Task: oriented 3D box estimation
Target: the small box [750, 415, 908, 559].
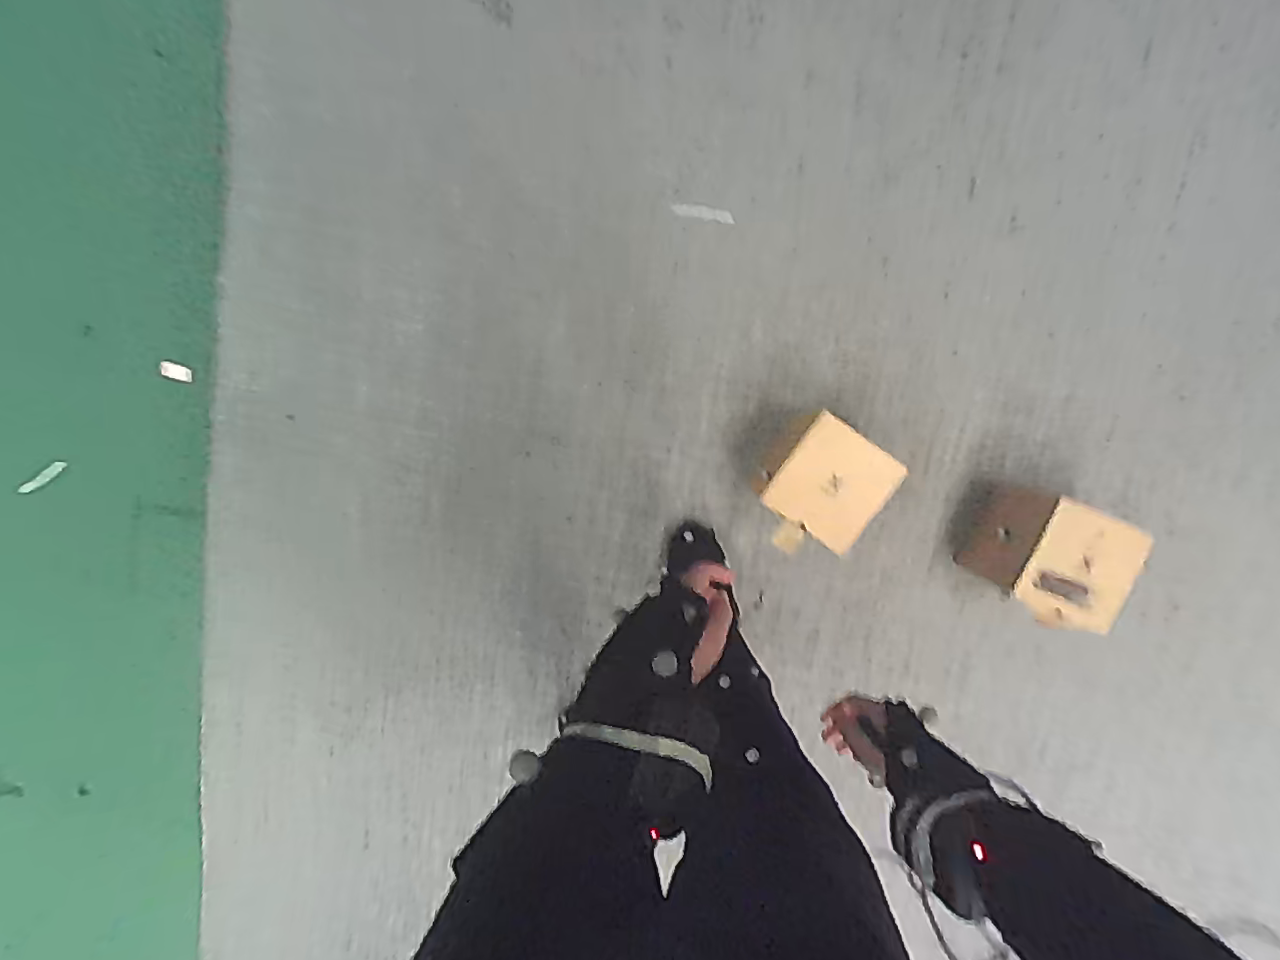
[{"bbox_3d":[0.308,0.001,0.928,0.168,0.176,0.179,34,99,-3],"label":"small box"}]
